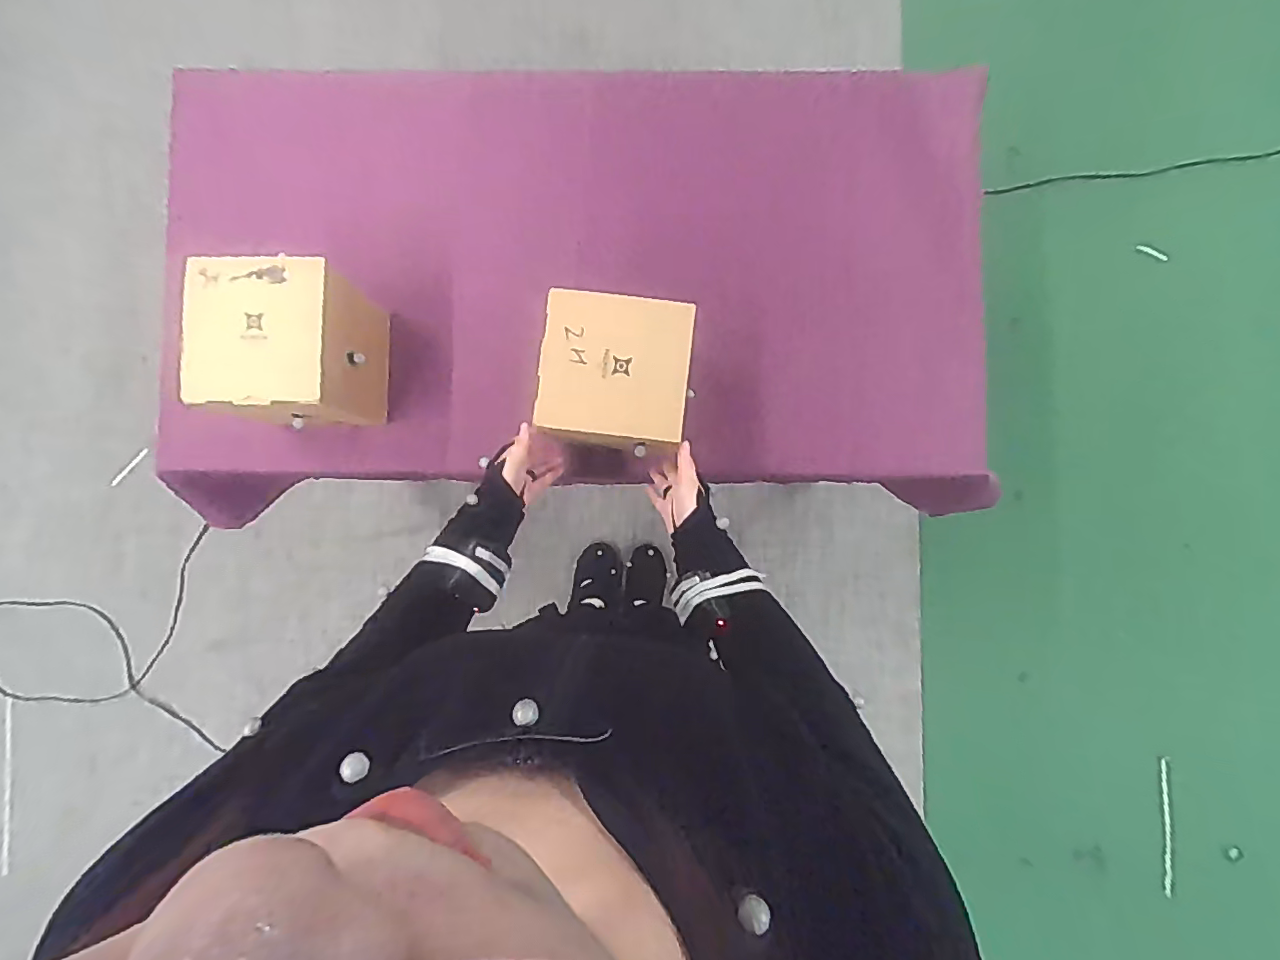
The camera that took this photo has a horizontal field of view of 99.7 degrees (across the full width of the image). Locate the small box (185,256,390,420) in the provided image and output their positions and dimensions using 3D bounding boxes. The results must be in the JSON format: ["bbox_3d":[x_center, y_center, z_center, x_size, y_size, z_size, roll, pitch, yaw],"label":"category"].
[{"bbox_3d":[-0.449,-0.175,0.714,0.168,0.176,0.179,1,88,0],"label":"small box"}]

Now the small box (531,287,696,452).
[{"bbox_3d":[-0.030,-0.131,0.707,0.179,0.176,0.168,7,87,1],"label":"small box"}]
